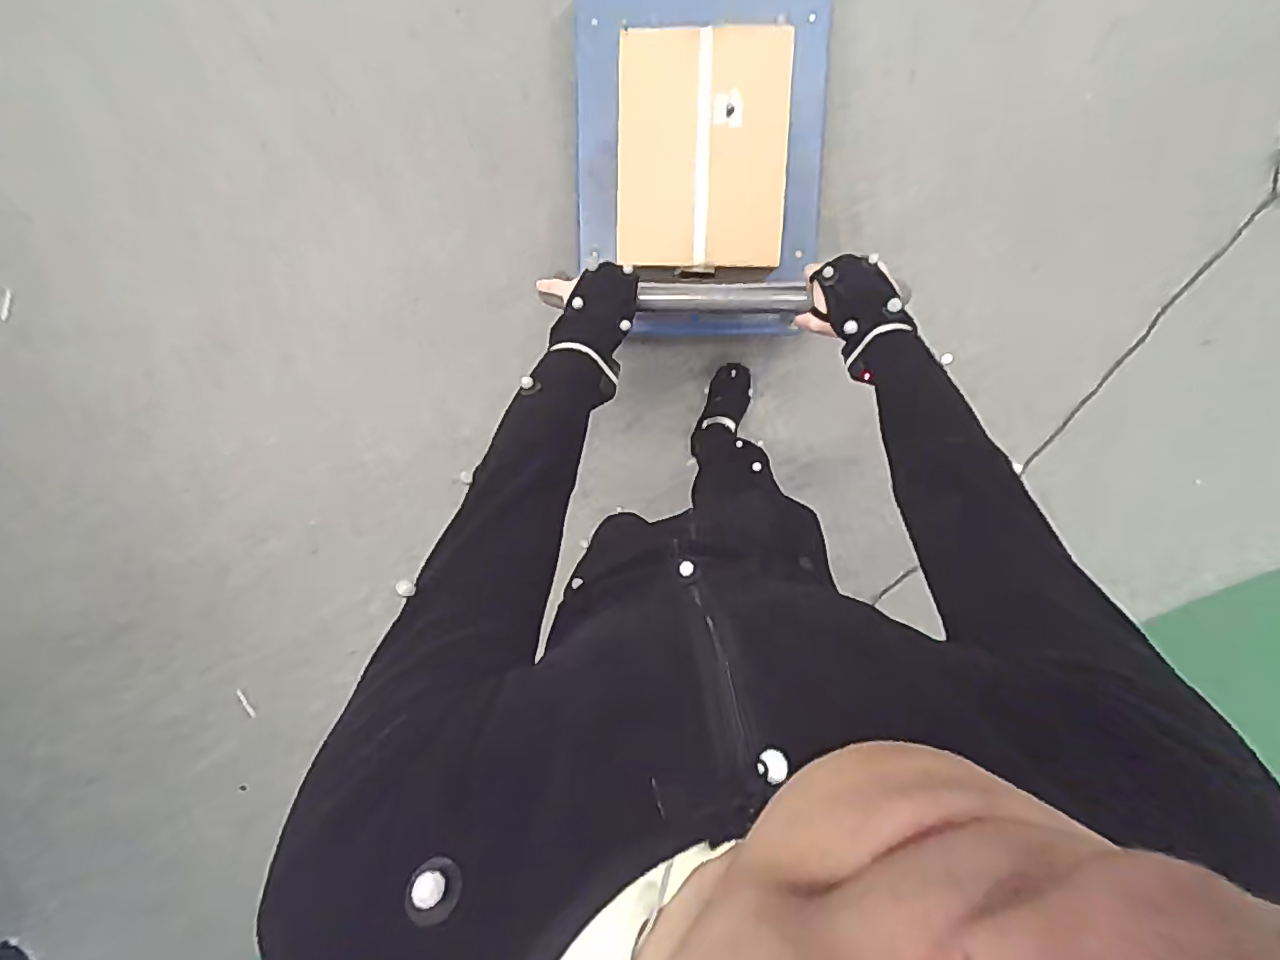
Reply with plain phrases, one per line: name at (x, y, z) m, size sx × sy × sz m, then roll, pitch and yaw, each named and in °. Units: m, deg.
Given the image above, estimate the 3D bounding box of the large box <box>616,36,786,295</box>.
large box at (0.121, -0.633, 1.165) m, size 0.320 × 0.320 × 0.408 m, roll 2°, pitch 99°, yaw 3°
